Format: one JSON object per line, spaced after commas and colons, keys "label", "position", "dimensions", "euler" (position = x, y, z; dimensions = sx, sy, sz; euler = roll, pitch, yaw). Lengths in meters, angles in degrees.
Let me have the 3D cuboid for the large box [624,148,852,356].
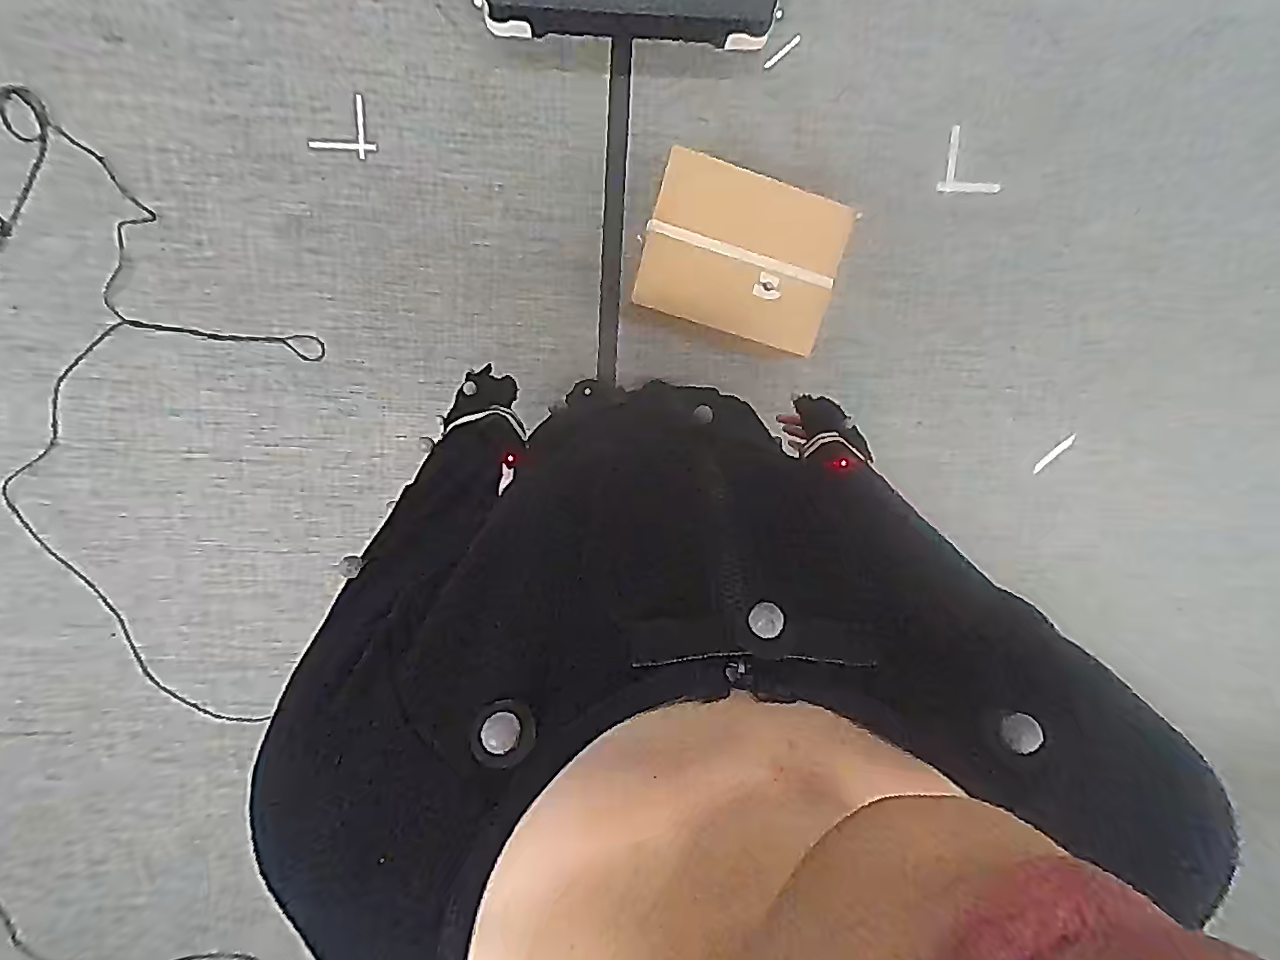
{"label": "large box", "position": [0.198, -0.497, 1.264], "dimensions": [0.408, 0.320, 0.320], "euler": [15, 100, -8]}
